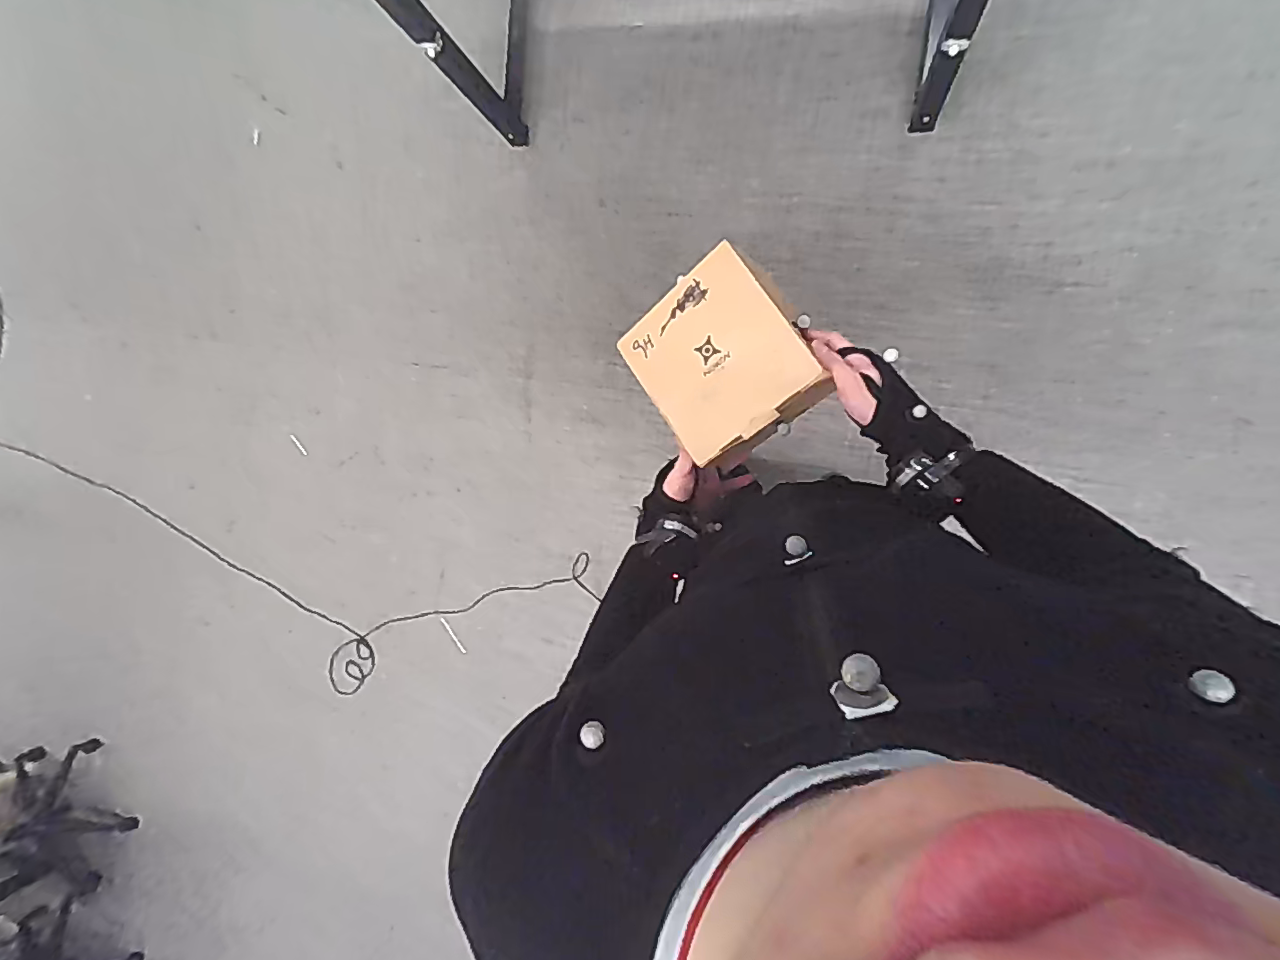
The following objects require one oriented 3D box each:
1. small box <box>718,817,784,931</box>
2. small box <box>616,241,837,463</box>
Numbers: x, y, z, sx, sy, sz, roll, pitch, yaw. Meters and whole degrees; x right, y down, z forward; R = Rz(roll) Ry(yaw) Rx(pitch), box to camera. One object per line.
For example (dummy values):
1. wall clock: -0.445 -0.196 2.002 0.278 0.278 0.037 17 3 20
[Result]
1. small box: 0.318 1.103 1.526 0.168 0.176 0.179 4 94 15
2. small box: 0.111 -0.144 0.642 0.168 0.176 0.179 -37 81 27
